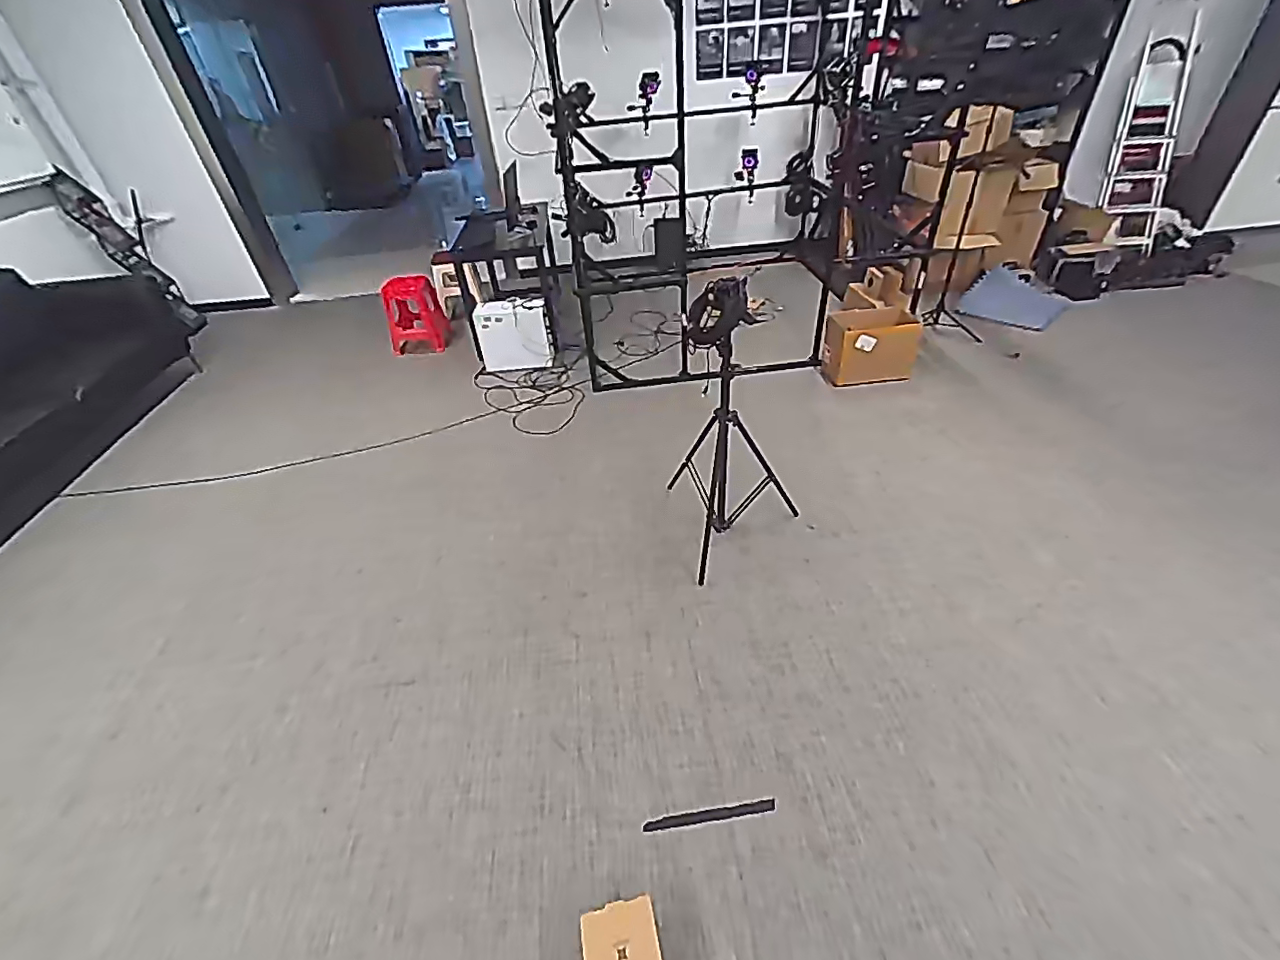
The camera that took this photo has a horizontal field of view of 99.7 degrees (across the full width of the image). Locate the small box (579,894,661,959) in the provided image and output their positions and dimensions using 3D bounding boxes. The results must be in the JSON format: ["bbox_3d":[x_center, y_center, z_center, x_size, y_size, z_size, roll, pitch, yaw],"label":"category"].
[{"bbox_3d":[-0.038,1.077,1.212,0.168,0.176,0.179,-11,39,-7],"label":"small box"}]
